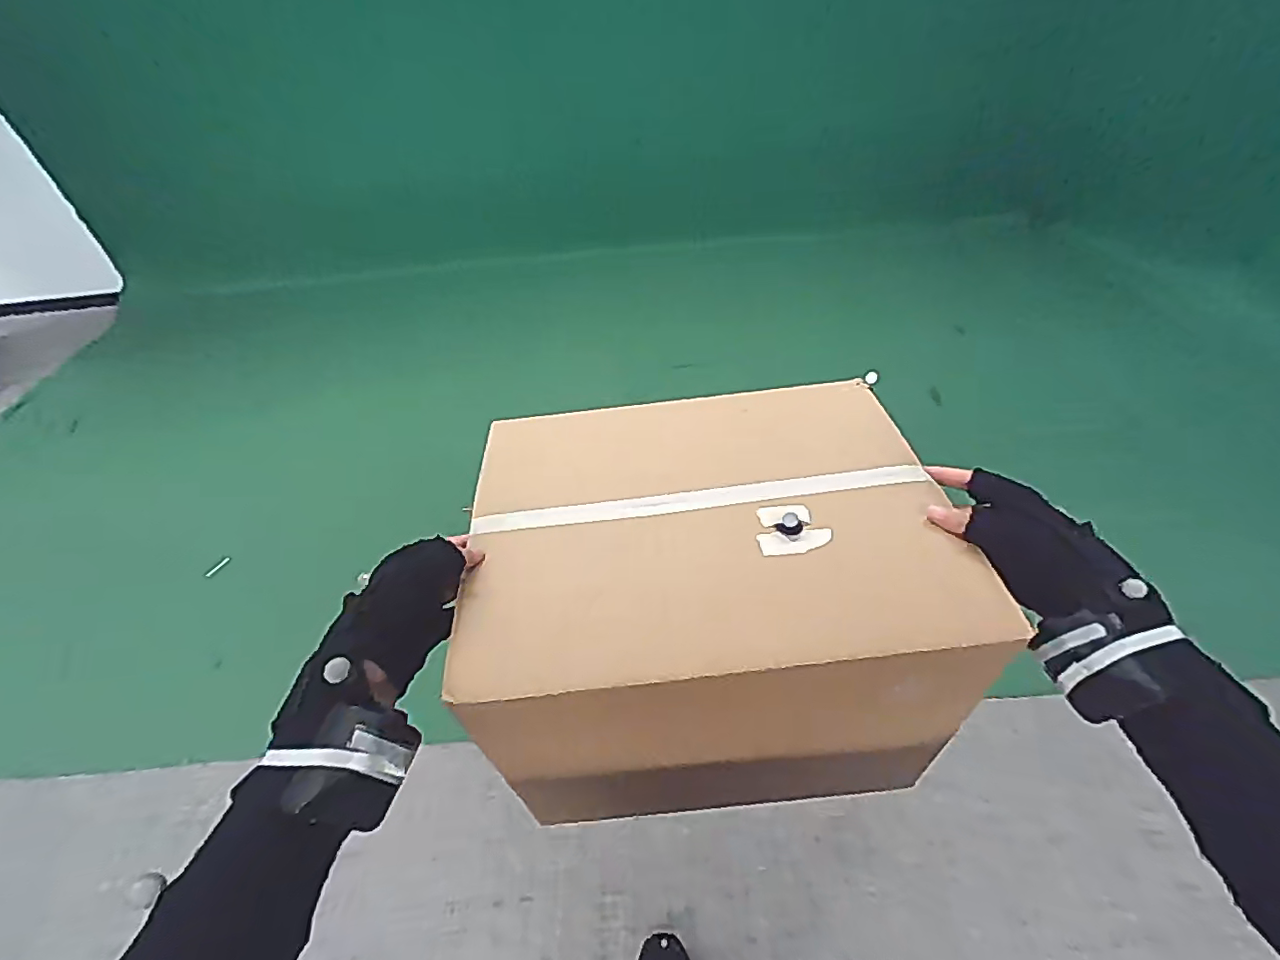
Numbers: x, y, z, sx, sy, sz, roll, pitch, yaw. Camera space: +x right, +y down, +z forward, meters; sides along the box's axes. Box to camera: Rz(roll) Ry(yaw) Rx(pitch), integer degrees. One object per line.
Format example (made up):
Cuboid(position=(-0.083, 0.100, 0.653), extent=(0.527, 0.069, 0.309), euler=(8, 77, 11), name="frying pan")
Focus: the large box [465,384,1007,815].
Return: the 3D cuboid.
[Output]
Cuboid(position=(0.068, 0.131, 0.594), extent=(0.408, 0.320, 0.320), euler=(-7, 45, 1), name="large box")
